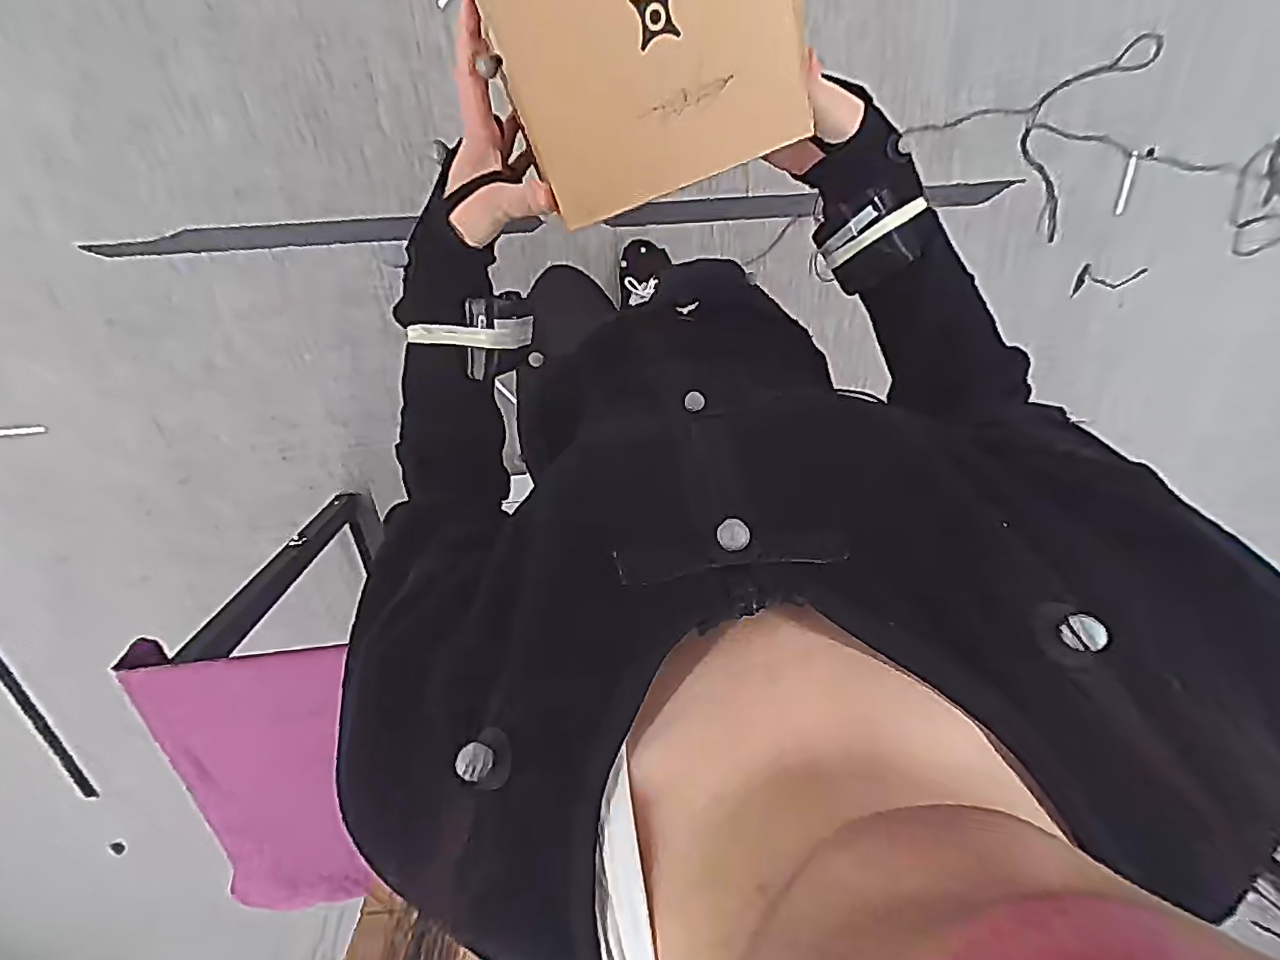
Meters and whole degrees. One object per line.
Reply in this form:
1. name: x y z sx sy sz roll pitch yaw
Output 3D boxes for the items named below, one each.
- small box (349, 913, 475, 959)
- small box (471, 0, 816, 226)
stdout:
1. small box: -0.351 0.794 0.817 0.179 0.176 0.168 -1 112 -5
2. small box: -0.011 -0.292 0.344 0.168 0.176 0.179 -23 128 1
